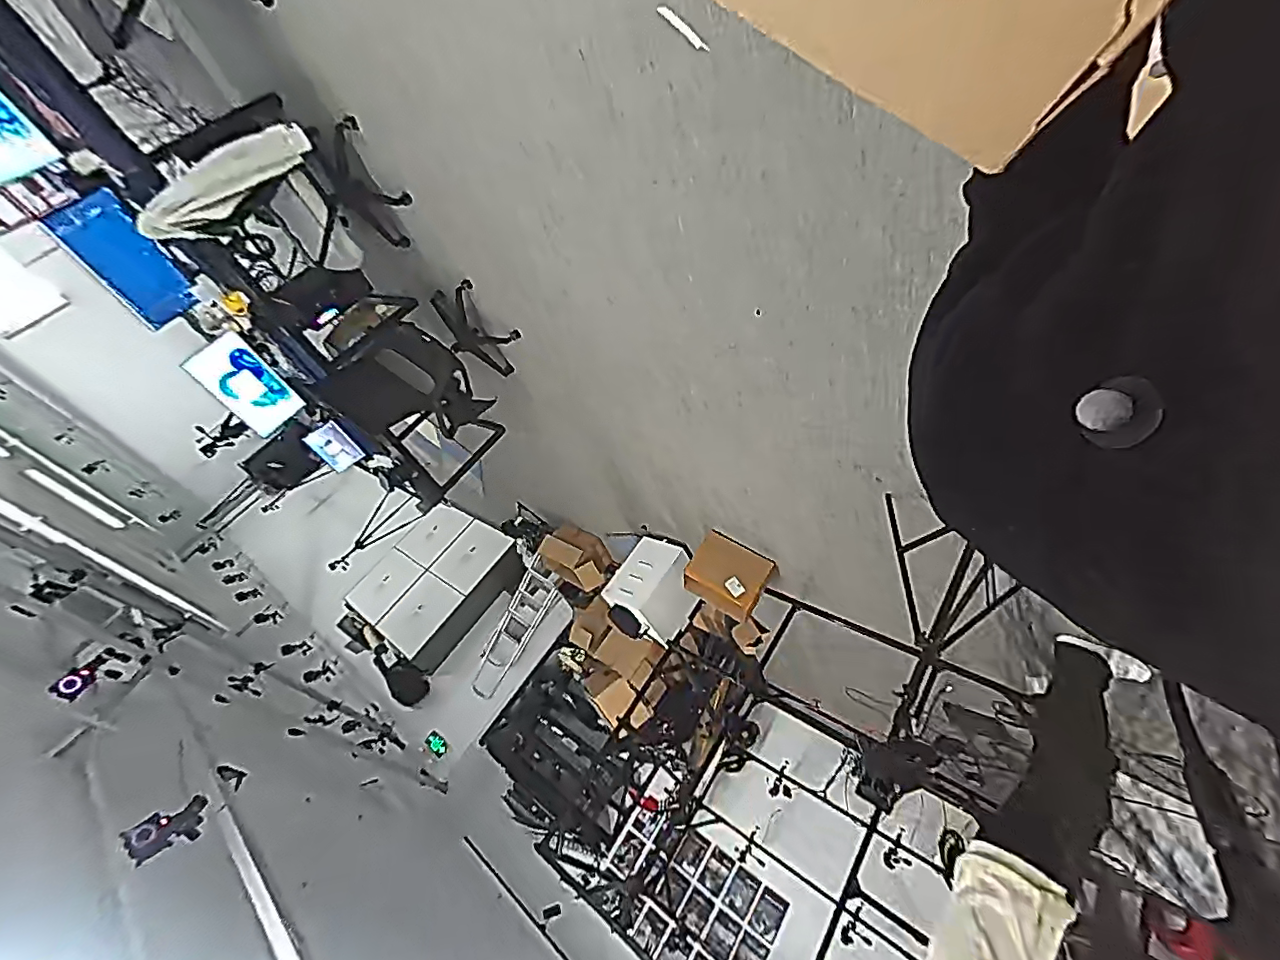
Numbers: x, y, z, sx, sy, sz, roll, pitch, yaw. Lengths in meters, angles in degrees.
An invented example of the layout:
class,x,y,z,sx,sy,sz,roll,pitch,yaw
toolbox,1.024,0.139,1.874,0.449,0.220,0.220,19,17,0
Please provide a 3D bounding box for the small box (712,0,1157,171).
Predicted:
class,x,y,z,sx,sy,sz,roll,pitch,yaw
small box,0.137,-0.260,0.176,0.179,0.176,0.168,38,179,7
